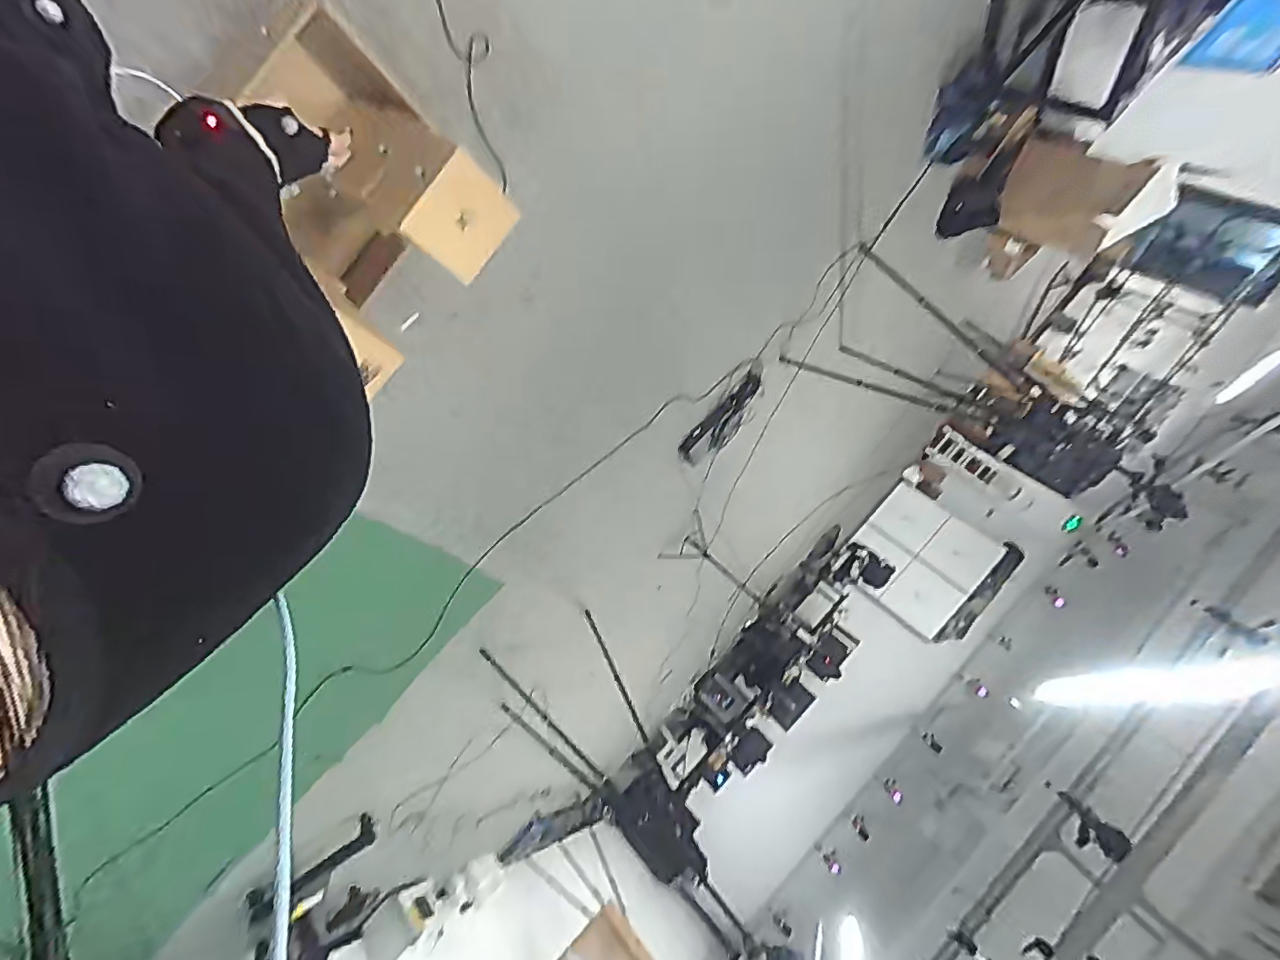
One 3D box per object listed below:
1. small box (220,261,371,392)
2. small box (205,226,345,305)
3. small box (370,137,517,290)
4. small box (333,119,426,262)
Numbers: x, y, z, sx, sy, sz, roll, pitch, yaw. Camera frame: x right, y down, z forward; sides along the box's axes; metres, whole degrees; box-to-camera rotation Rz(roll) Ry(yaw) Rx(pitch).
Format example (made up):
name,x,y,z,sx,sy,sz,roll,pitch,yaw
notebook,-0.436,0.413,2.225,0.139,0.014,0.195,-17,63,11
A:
name,x,y,z,sx,sy,sz,roll,pitch,yaw
small box,-0.701,-0.318,1.100,0.168,0.176,0.179,-49,150,-1
small box,-0.801,-0.419,1.184,0.179,0.176,0.168,-50,150,-2
small box,-0.375,-0.500,1.015,0.179,0.176,0.168,-53,148,2
small box,-0.482,-0.589,1.098,0.179,0.176,0.168,-49,148,-1
